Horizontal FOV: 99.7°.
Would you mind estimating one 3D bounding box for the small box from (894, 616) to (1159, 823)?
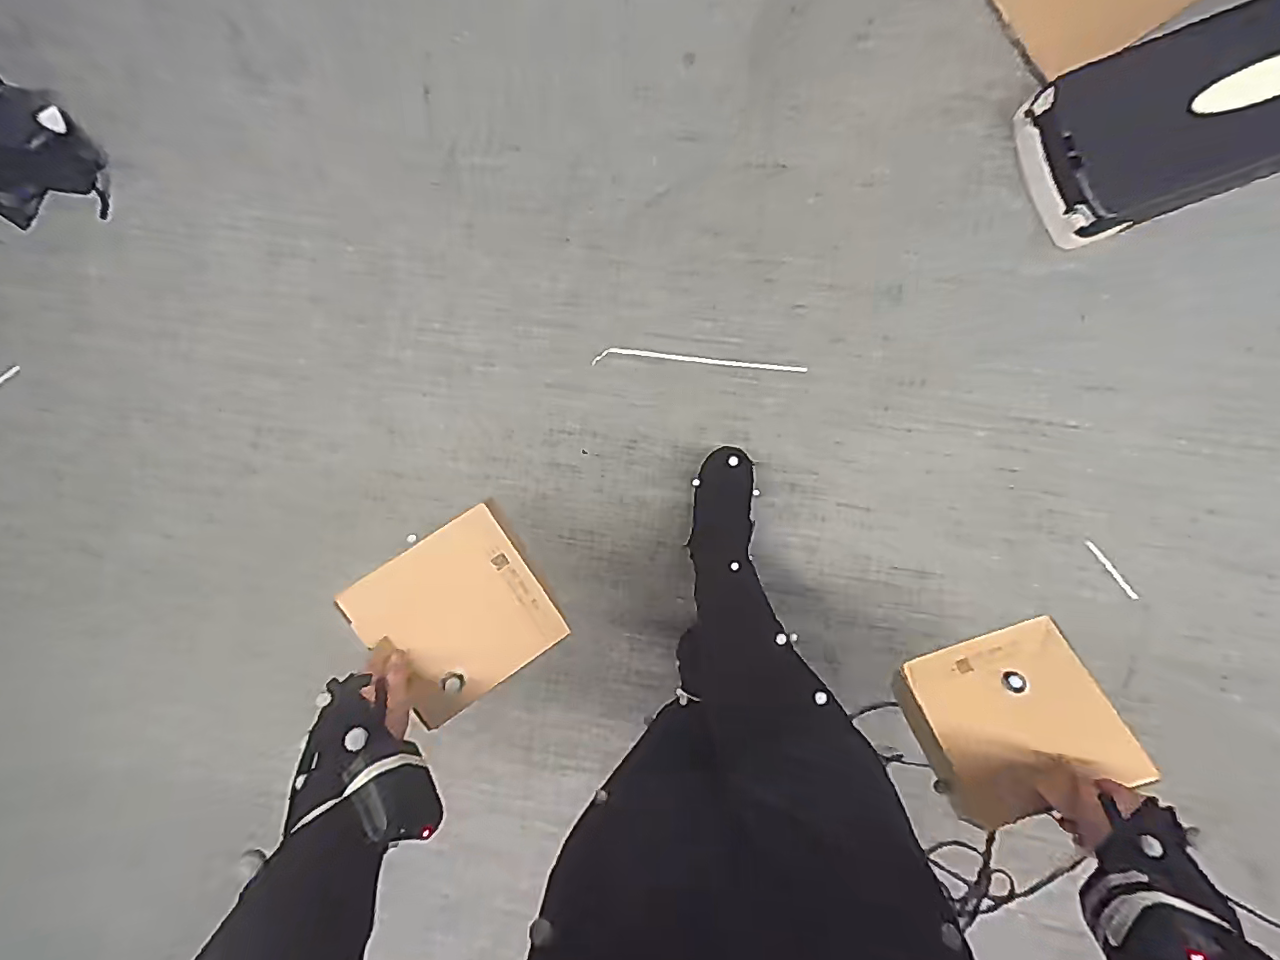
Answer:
[{"bbox_3d":[0.415,0.274,0.625,0.168,0.179,0.176,-23,57,8],"label":"small box"}]
